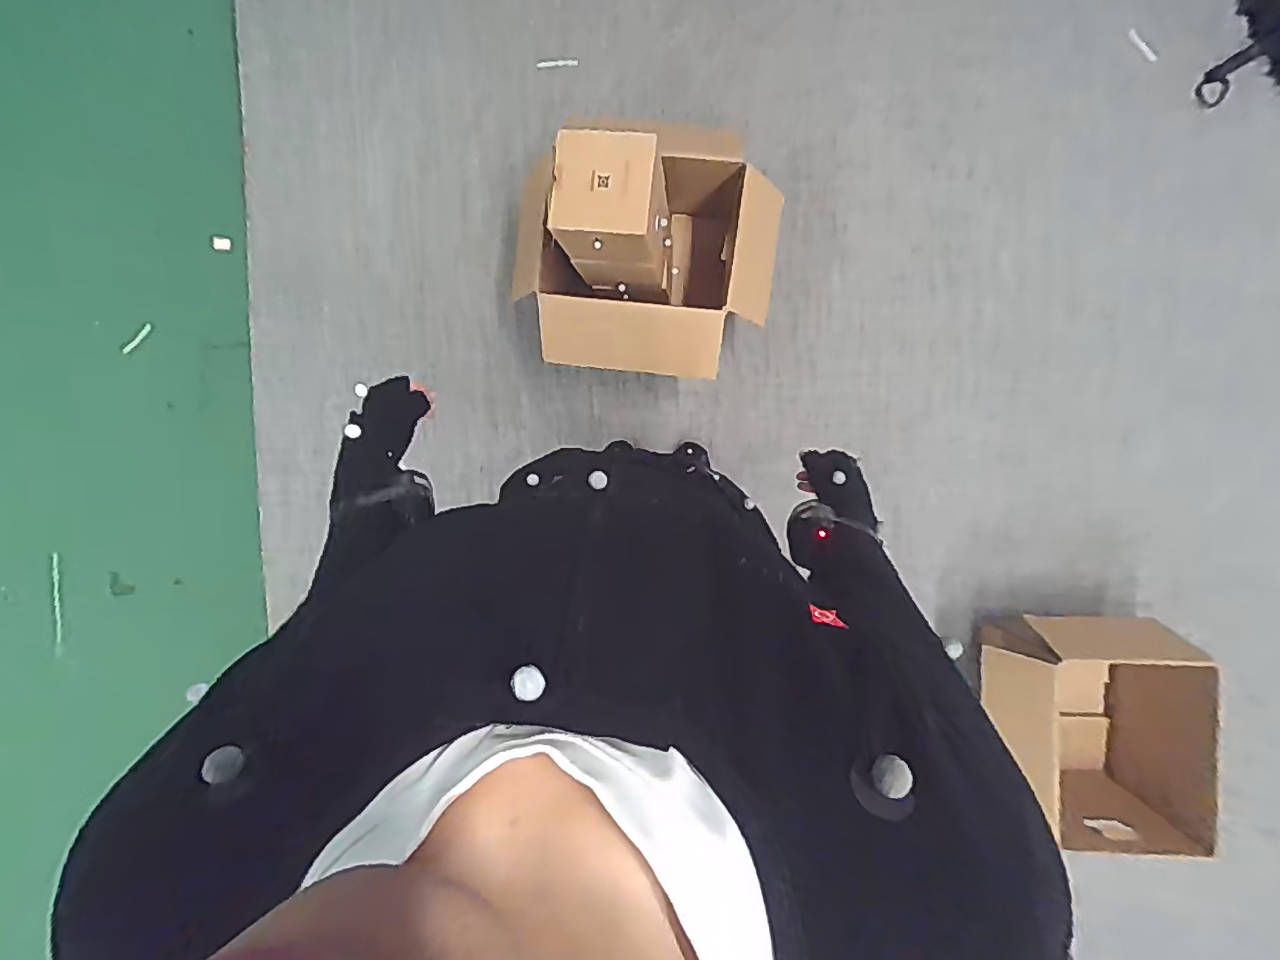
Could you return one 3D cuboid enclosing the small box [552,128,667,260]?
[{"bbox_3d":[-0.050,-0.517,0.997,0.179,0.176,0.168,6,96,6],"label":"small box"}]
